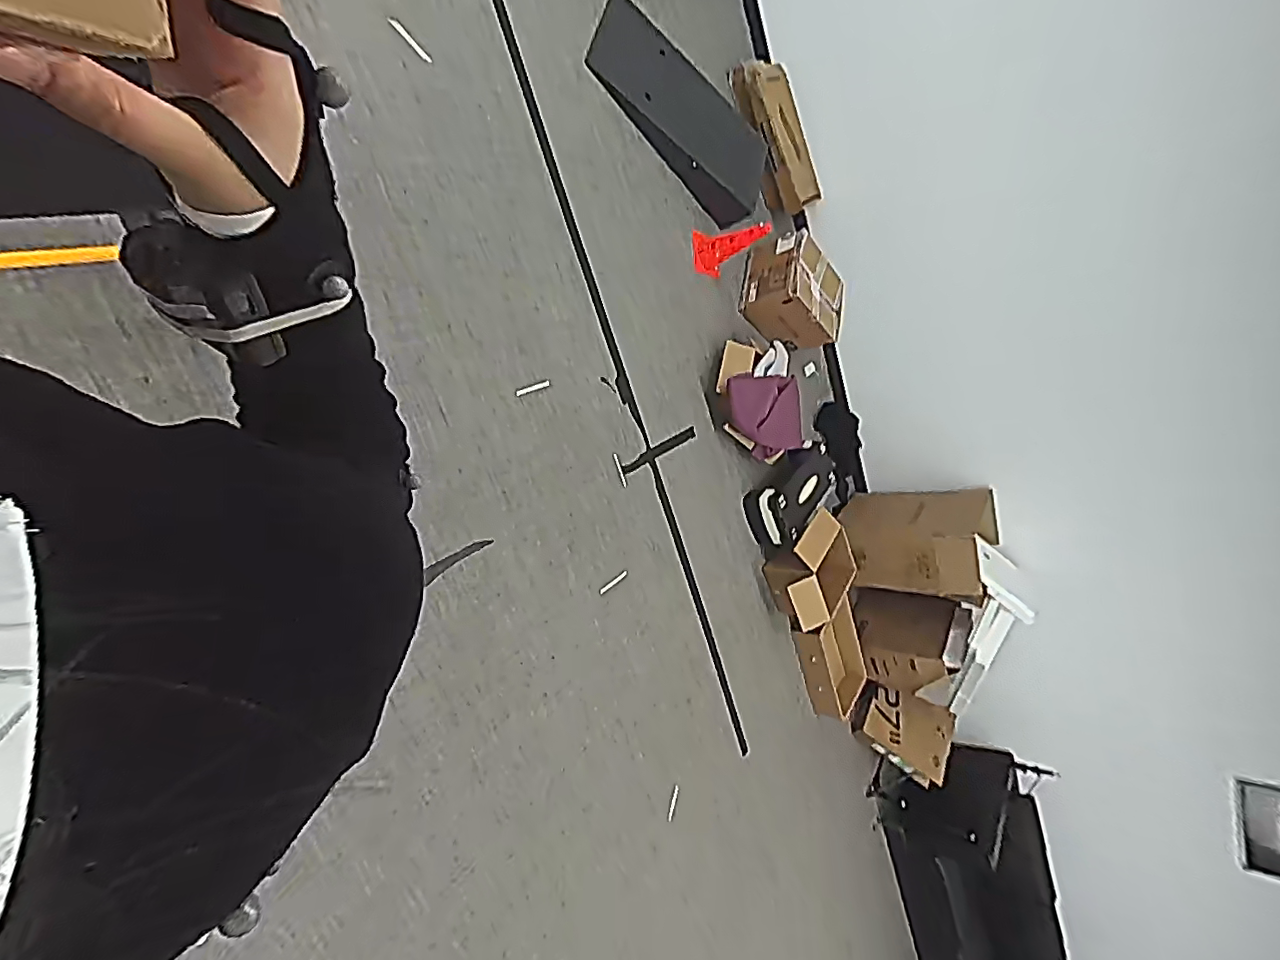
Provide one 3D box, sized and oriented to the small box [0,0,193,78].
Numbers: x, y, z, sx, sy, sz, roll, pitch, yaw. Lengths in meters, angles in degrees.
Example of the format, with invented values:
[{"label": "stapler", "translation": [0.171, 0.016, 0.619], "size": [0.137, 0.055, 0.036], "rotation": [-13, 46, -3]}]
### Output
[{"label": "small box", "translation": [-0.216, -0.194, 0.084], "size": [0.168, 0.176, 0.179], "rotation": [-24, 134, -49]}]
